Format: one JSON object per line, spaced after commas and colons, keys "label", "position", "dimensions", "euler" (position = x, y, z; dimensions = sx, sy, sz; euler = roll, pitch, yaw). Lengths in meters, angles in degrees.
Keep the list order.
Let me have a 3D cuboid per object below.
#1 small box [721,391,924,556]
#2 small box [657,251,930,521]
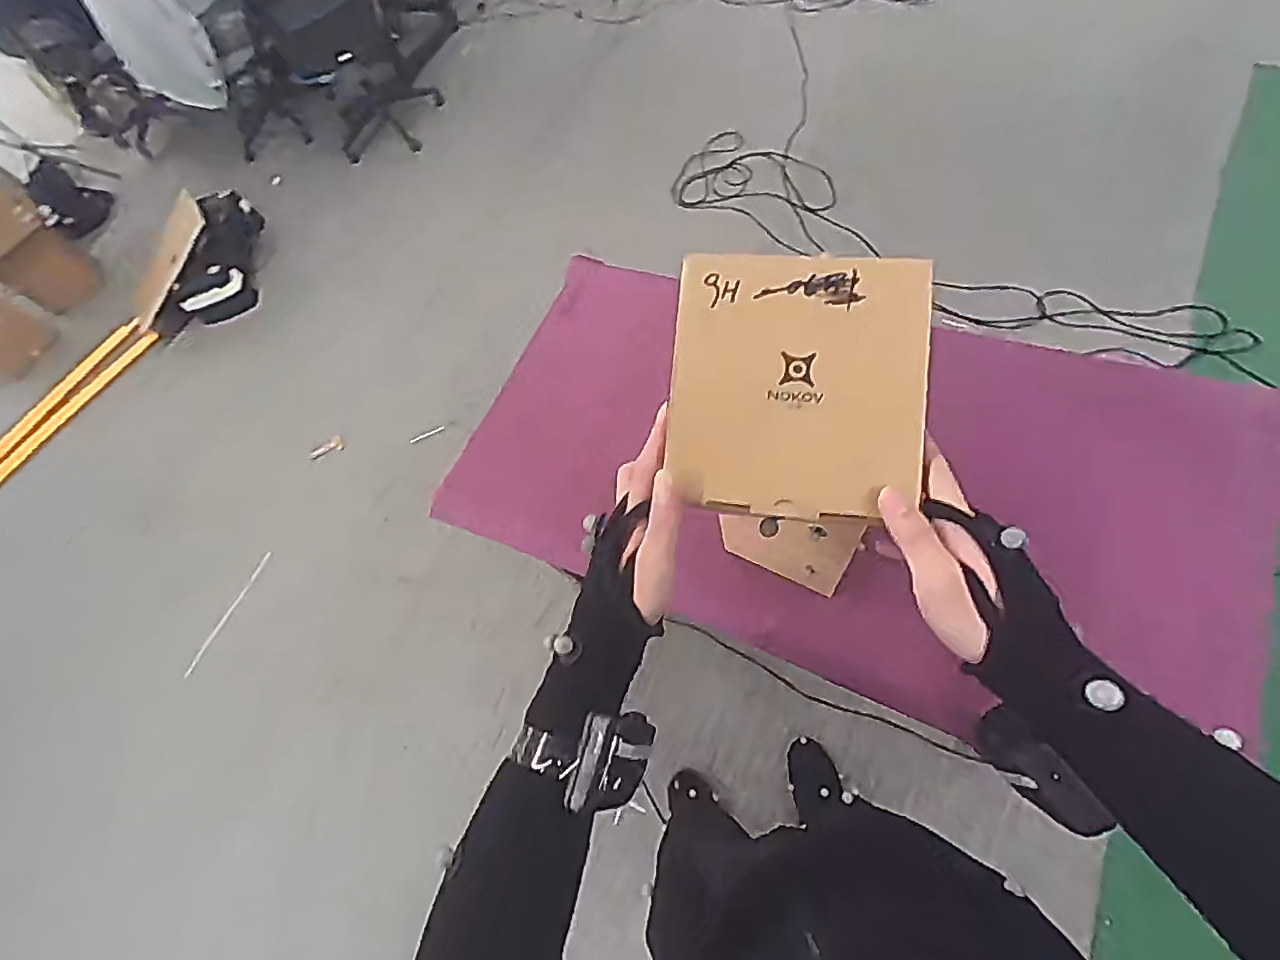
{"label": "small box", "position": [0.202, -0.025, 0.645], "dimensions": [0.179, 0.176, 0.168], "euler": [24, 73, 22]}
{"label": "small box", "position": [0.114, -0.062, 0.442], "dimensions": [0.168, 0.176, 0.179], "euler": [6, 86, 9]}
